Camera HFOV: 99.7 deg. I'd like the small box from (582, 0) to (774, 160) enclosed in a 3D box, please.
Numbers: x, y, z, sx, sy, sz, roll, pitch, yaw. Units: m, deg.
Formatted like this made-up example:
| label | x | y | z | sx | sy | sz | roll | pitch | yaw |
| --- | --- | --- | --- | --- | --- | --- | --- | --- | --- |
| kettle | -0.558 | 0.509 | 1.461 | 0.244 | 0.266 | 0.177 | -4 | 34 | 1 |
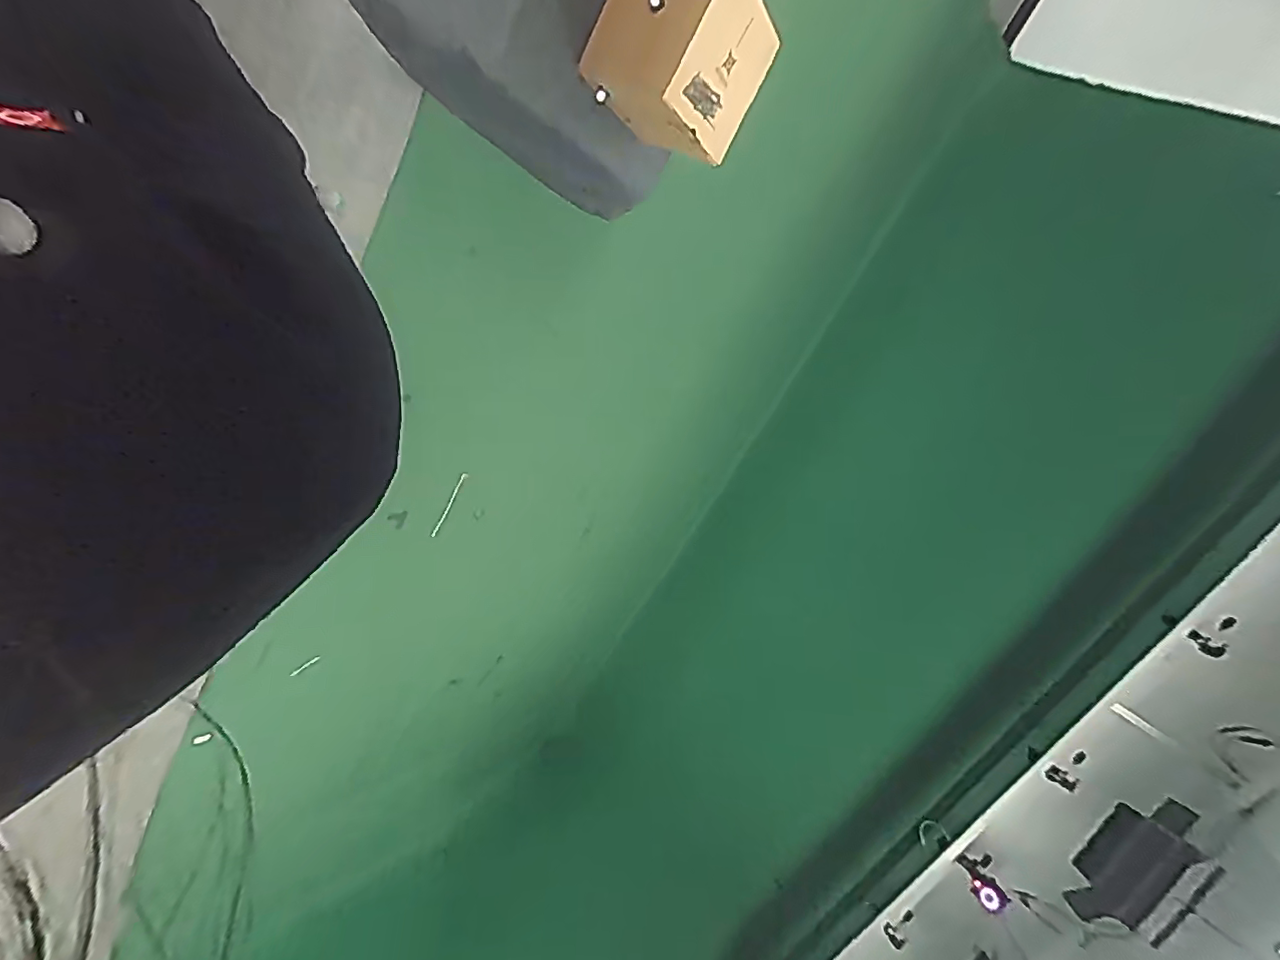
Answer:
| label | x | y | z | sx | sy | sz | roll | pitch | yaw |
| --- | --- | --- | --- | --- | --- | --- | --- | --- | --- |
| small box | 0.046 | -0.587 | 0.740 | 0.168 | 0.176 | 0.179 | 4 | 120 | -59 |
